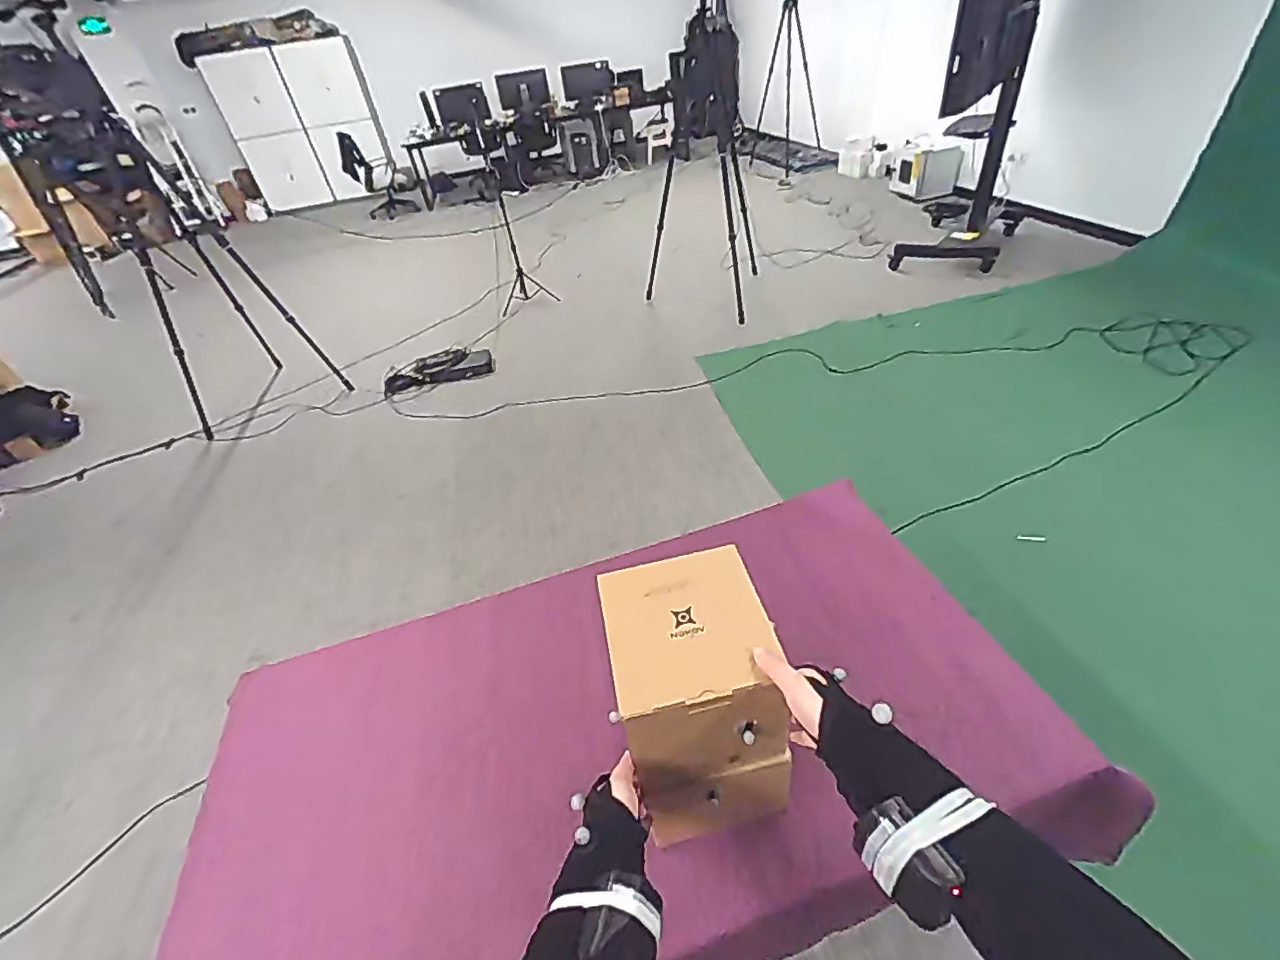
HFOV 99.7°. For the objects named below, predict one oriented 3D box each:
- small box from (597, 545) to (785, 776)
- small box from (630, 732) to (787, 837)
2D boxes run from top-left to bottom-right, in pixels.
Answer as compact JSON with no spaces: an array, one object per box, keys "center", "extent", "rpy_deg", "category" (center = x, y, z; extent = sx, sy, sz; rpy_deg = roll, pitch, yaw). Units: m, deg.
[{"center":[0.055,0.207,0.609],"extent":[0.168,0.176,0.179],"rpy_deg":[-13,39,-3],"category":"small box"},{"center":[0.080,0.335,0.707],"extent":[0.179,0.176,0.168],"rpy_deg":[-14,40,-3],"category":"small box"}]
